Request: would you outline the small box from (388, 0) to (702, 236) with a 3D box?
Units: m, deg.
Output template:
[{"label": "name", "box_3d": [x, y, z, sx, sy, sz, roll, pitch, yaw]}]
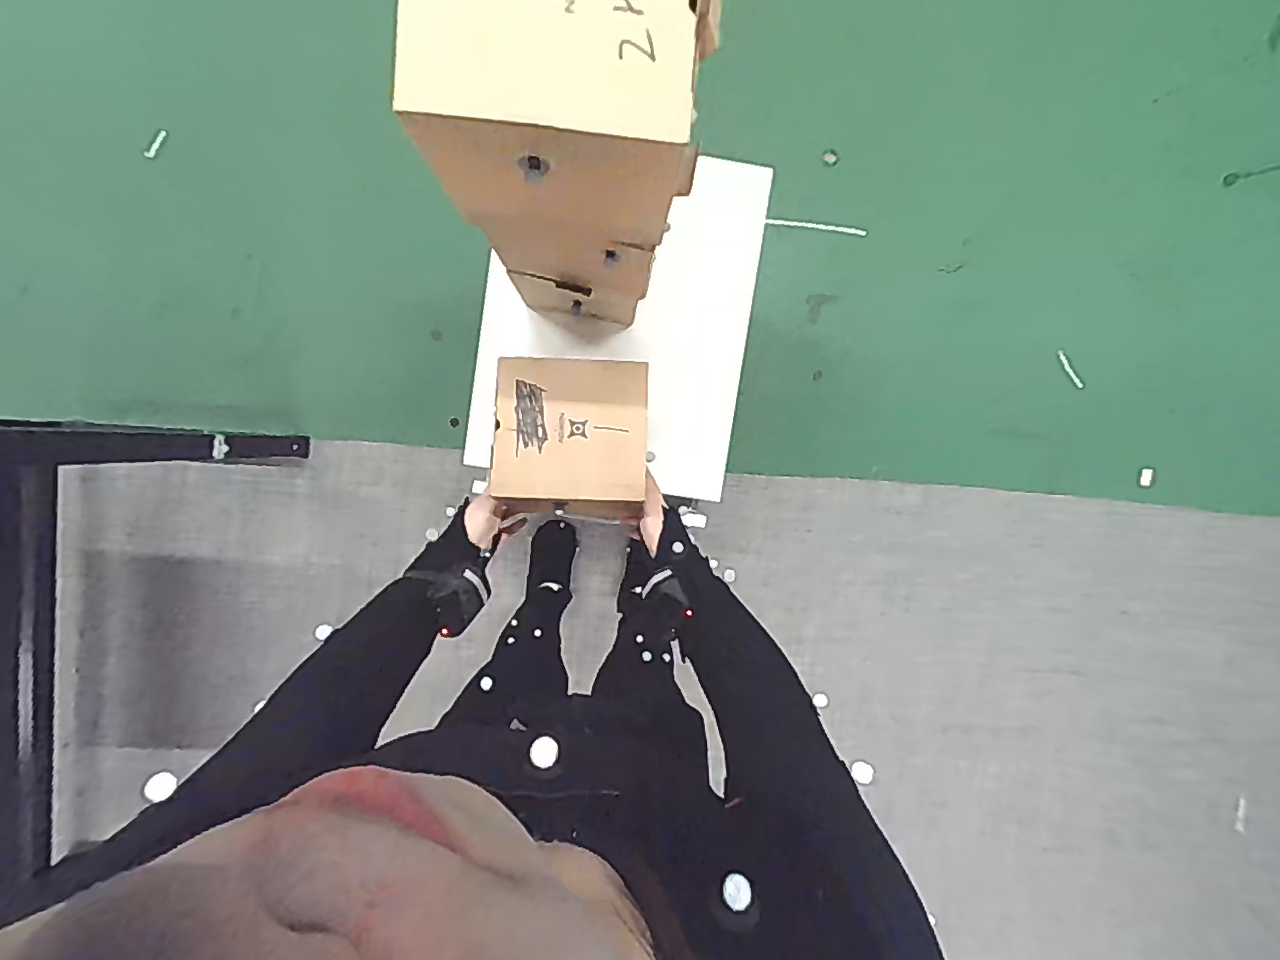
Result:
[{"label": "small box", "box_3d": [-0.054, -0.291, 0.384, 0.179, 0.176, 0.168, 4, 95, -4]}]

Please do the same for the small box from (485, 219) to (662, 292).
[{"label": "small box", "box_3d": [-0.058, -0.307, 0.548, 0.179, 0.176, 0.168, 12, 93, -5]}]

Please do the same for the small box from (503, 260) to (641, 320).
[{"label": "small box", "box_3d": [-0.070, -0.322, 0.709, 0.168, 0.176, 0.179, 9, 94, -4]}]
